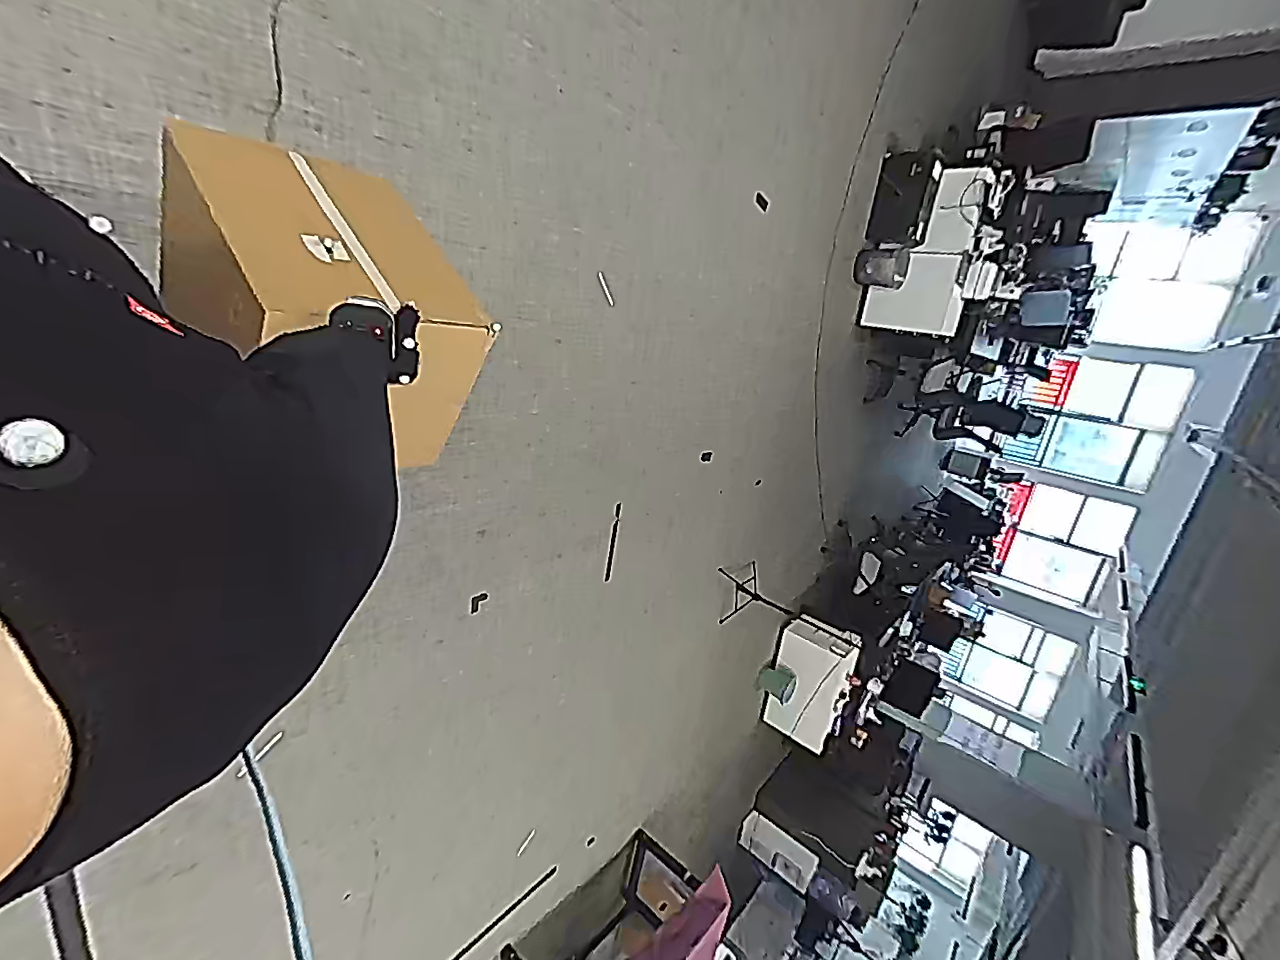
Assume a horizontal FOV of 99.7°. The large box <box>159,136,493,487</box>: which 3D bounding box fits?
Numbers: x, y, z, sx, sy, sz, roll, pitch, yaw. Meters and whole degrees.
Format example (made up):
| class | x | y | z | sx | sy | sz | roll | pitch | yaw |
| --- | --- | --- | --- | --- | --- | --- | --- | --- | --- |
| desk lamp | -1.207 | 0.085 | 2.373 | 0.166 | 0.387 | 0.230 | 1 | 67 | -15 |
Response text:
| class | x | y | z | sx | sy | sz | roll | pitch | yaw |
| --- | --- | --- | --- | --- | --- | --- | --- | --- | --- |
| large box | -0.519 | -0.253 | 0.878 | 0.320 | 0.408 | 0.320 | -15 | 151 | -50 |
